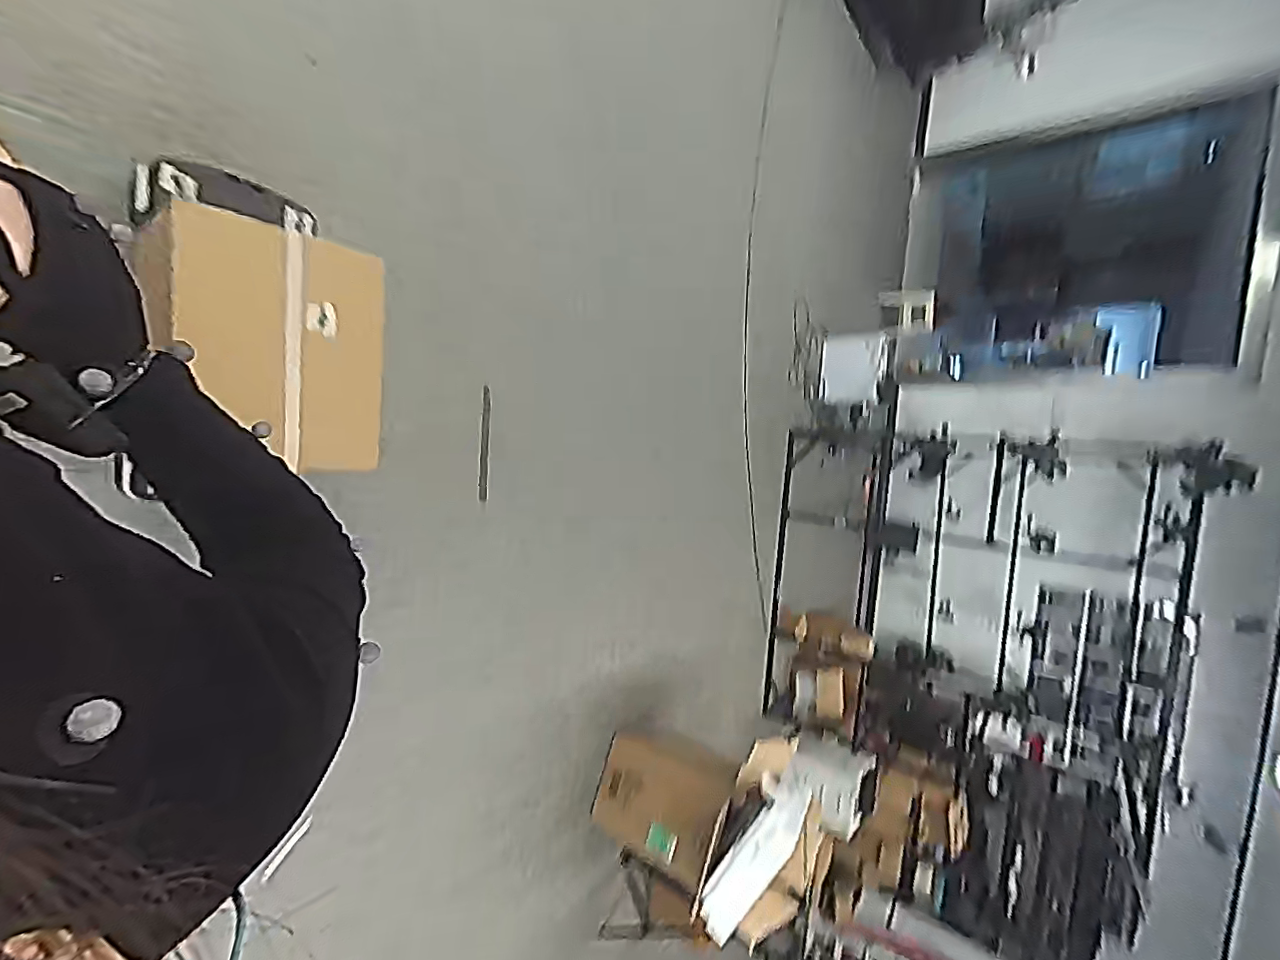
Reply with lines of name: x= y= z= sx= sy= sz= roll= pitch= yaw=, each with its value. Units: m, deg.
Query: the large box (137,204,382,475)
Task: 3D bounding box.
large box: x=-0.705 y=-0.219 z=1.007 sx=0.320 sy=0.320 sz=0.408 roll=-1 pitch=95 yaw=-52
